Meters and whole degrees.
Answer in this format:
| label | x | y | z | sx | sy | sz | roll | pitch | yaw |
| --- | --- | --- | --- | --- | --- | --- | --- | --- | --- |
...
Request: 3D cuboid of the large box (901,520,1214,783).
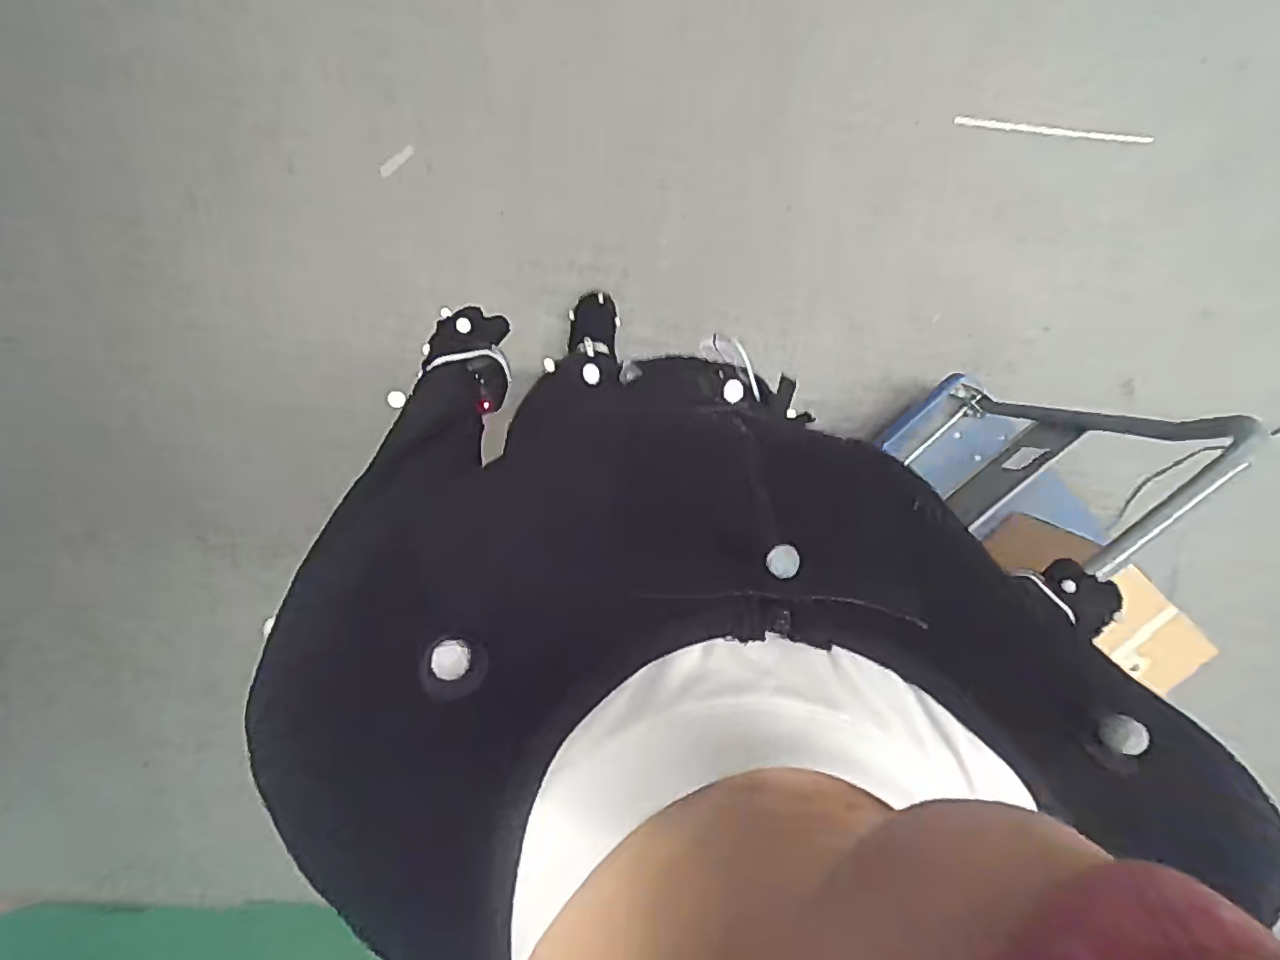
| label | x | y | z | sx | sy | sz | roll | pitch | yaw |
| --- | --- | --- | --- | --- | --- | --- | --- | --- | --- |
| large box | 0.901 | 0.365 | 1.230 | 0.320 | 0.320 | 0.408 | 40 | 99 | -8 |
